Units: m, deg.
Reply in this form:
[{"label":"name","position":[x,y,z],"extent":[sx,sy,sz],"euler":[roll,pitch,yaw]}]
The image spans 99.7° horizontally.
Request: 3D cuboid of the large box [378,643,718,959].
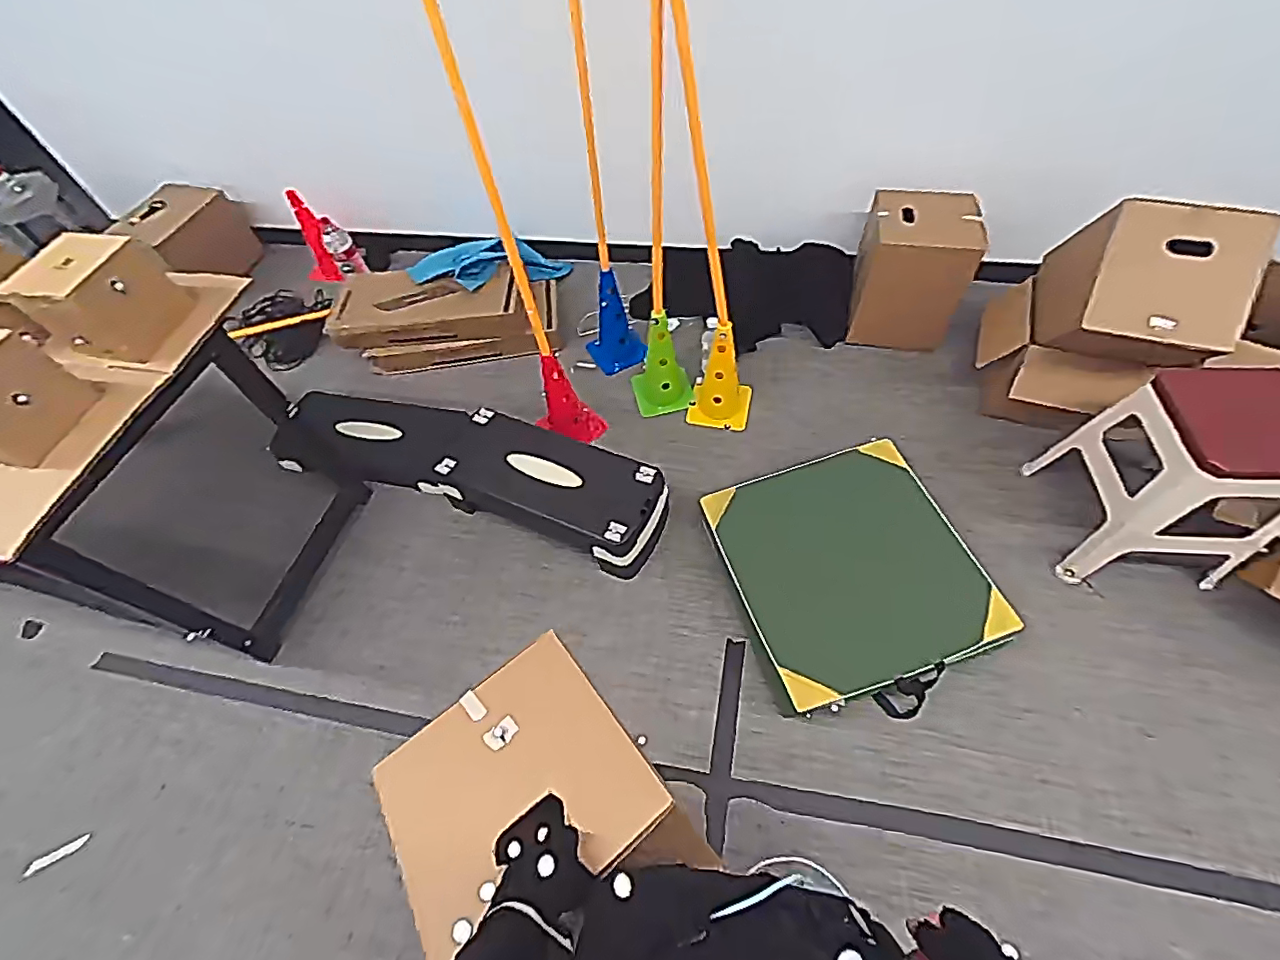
[{"label":"large box","position":[-0.123,0.531,0.841],"extent":[0.320,0.408,0.320],"euler":[-36,46,-14]}]
